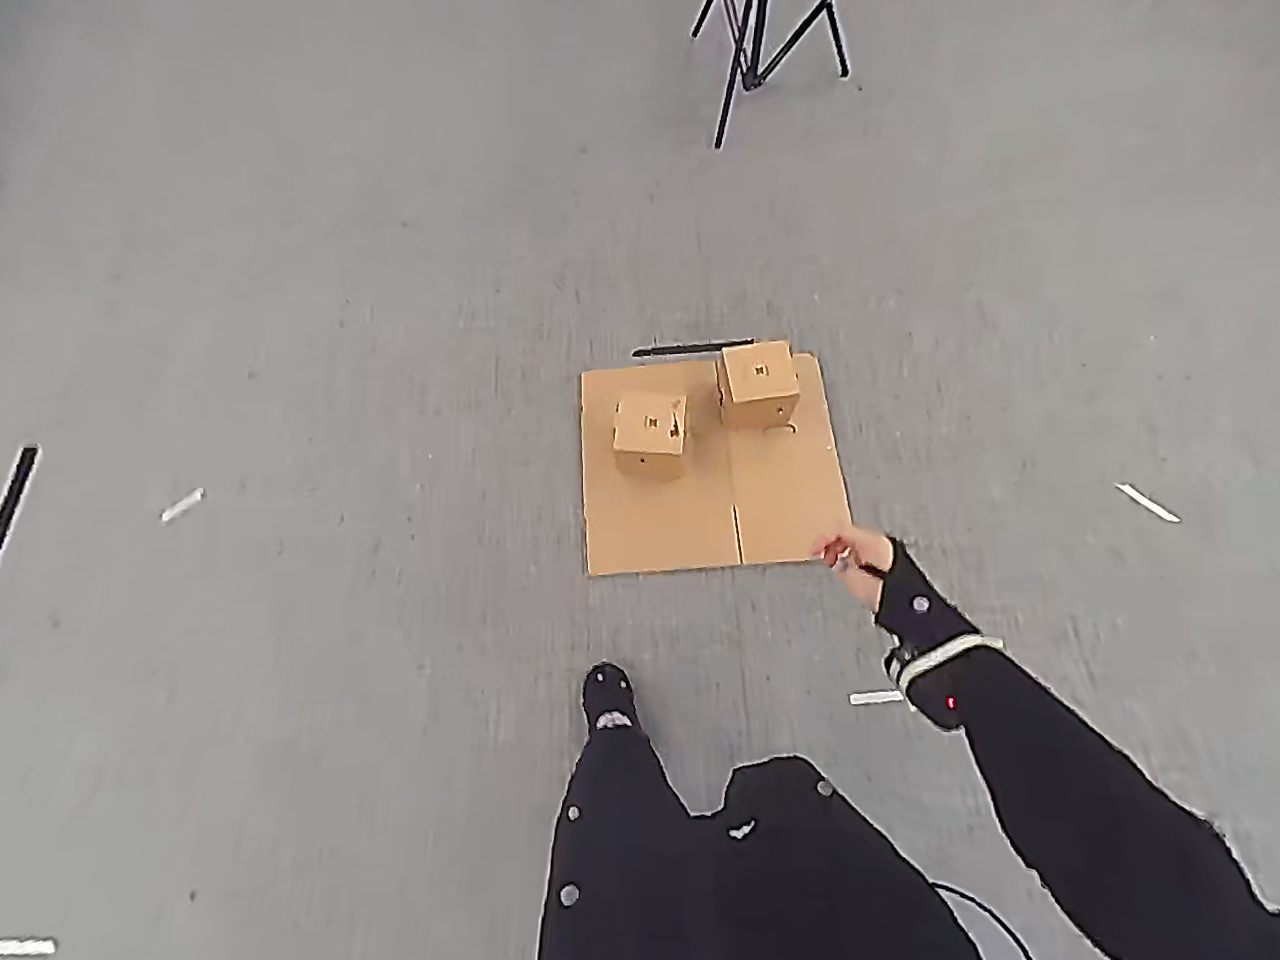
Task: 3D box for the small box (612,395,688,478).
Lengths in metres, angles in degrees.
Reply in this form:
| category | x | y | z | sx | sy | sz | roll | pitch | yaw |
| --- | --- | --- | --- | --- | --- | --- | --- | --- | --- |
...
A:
| category | x | y | z | sx | sy | sz | roll | pitch | yaw |
| --- | --- | --- | --- | --- | --- | --- | --- | --- | --- |
| small box | 0.032 | -0.110 | 1.425 | 0.179 | 0.176 | 0.168 | 4 | 71 | 6 |

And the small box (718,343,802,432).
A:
| category | x | y | z | sx | sy | sz | roll | pitch | yaw |
| --- | --- | --- | --- | --- | --- | --- | --- | --- | --- |
| small box | 0.316 | -0.245 | 1.460 | 0.179 | 0.176 | 0.168 | -9 | 69 | 0 |
